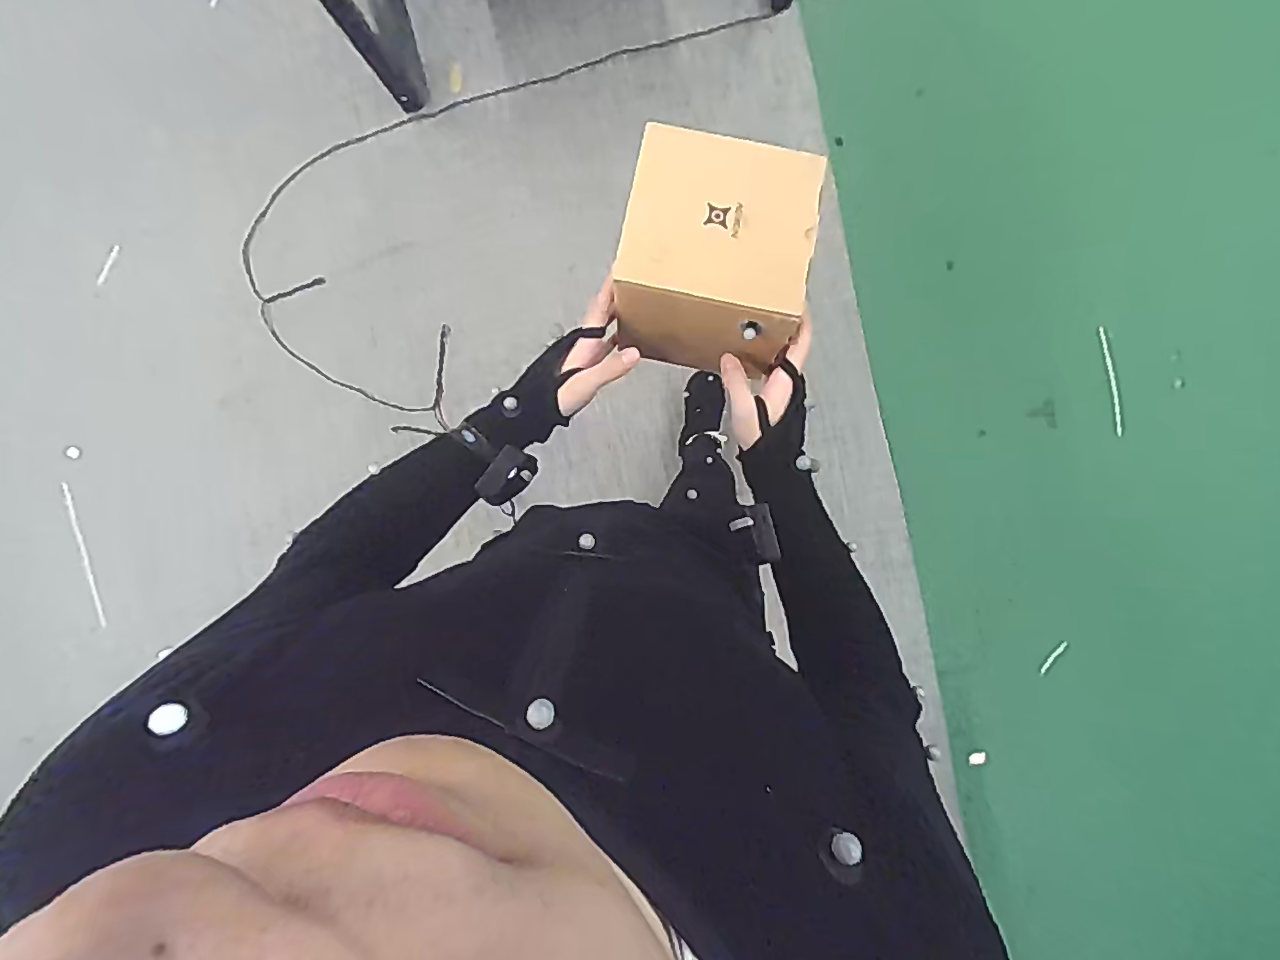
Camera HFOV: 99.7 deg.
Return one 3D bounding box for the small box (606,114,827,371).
[{"bbox_3d":[0.069,-0.228,0.560,0.179,0.176,0.168,11,81,0],"label":"small box"}]
